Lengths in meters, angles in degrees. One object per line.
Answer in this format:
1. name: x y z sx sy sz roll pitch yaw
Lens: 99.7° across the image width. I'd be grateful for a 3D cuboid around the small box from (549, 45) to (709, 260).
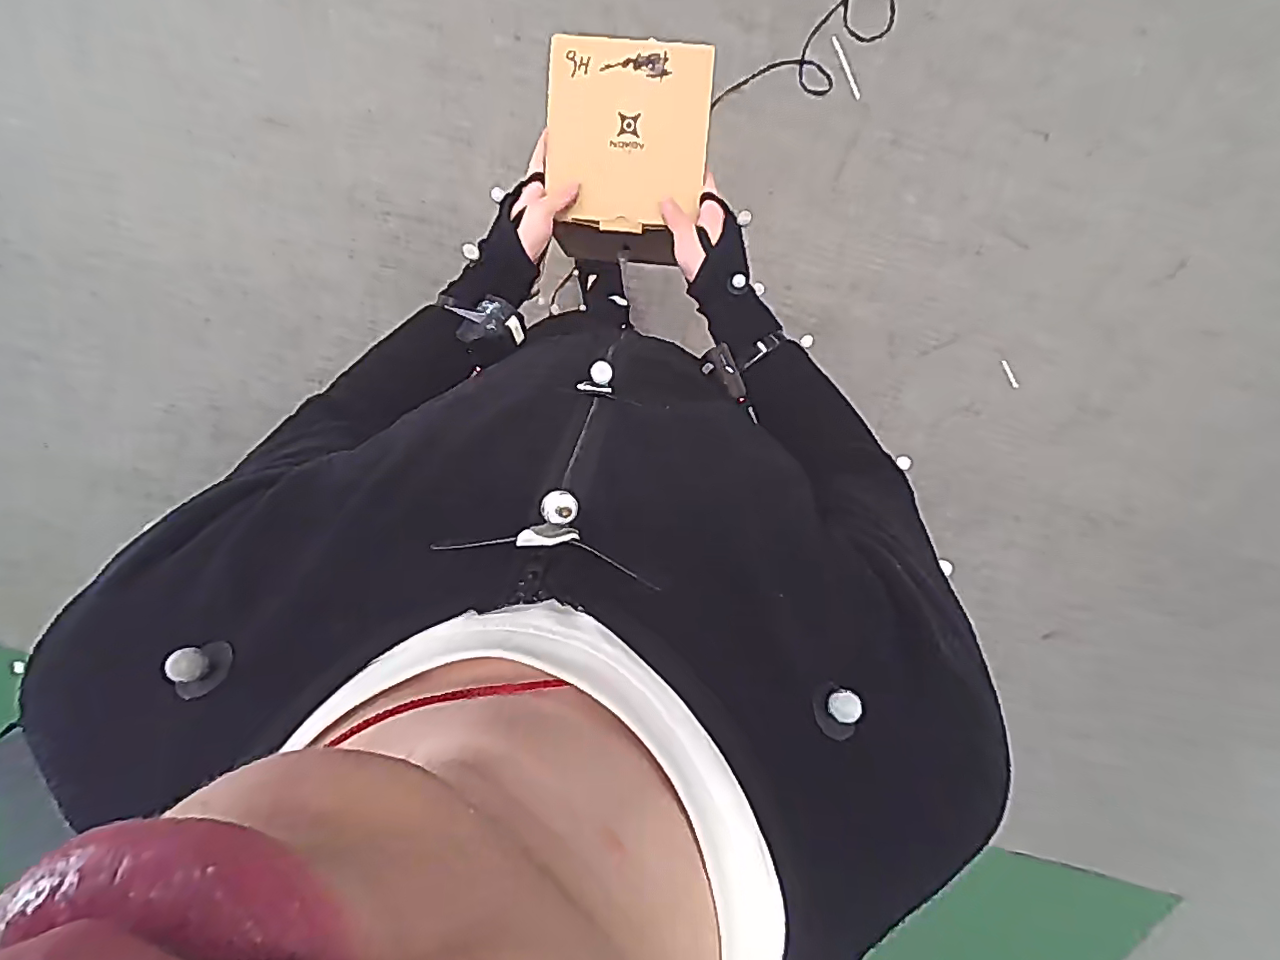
1. small box: -0.011 -0.369 0.641 0.168 0.176 0.179 2 100 1
